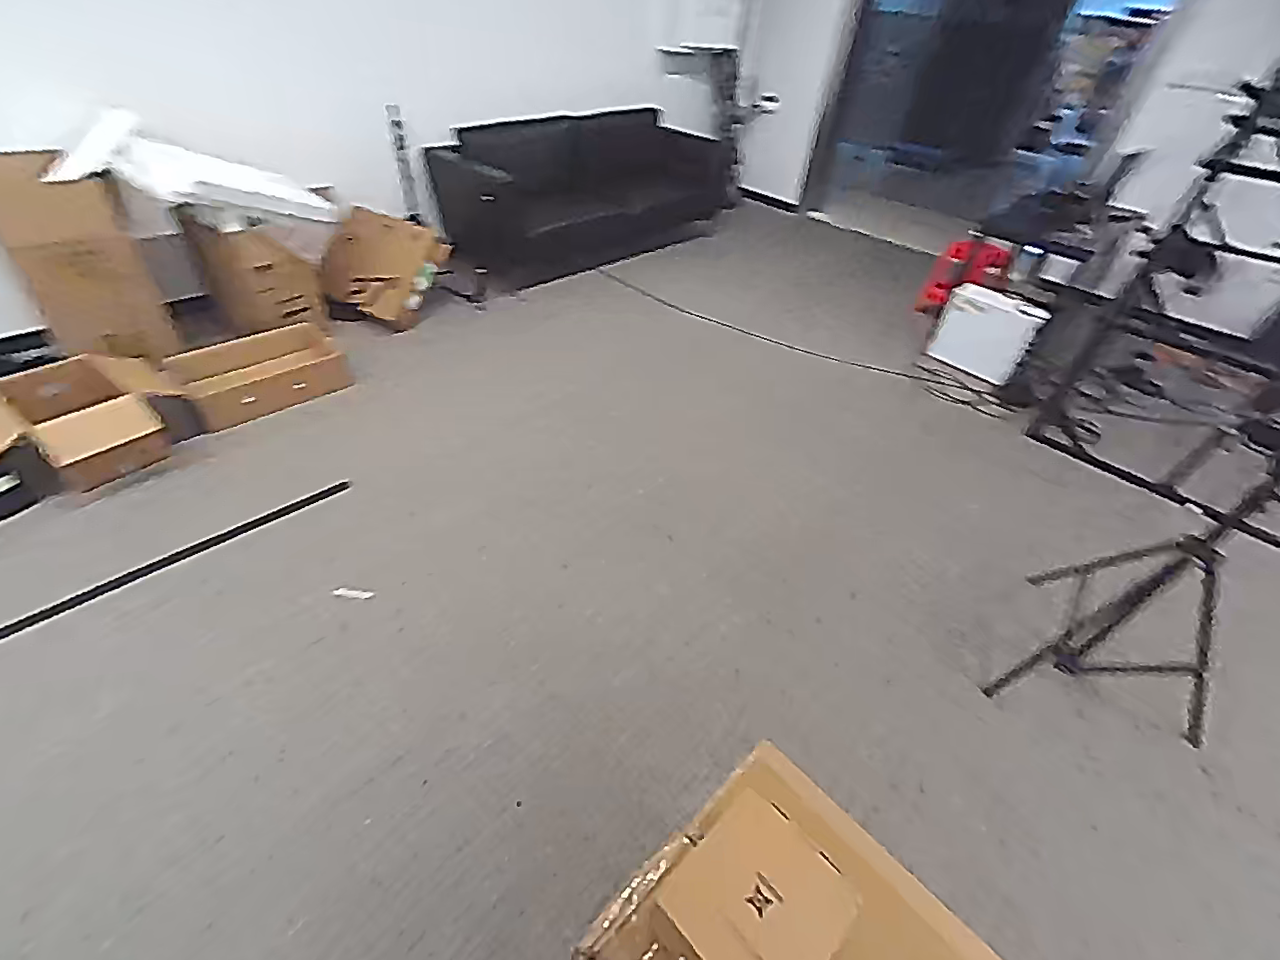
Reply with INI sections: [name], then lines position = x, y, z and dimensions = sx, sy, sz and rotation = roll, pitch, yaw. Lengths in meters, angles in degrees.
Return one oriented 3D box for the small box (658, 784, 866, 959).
[small box]
position = 0.134, 0.520, 0.654
dimensions = 0.179, 0.176, 0.168
rotation = -33, 53, -31
